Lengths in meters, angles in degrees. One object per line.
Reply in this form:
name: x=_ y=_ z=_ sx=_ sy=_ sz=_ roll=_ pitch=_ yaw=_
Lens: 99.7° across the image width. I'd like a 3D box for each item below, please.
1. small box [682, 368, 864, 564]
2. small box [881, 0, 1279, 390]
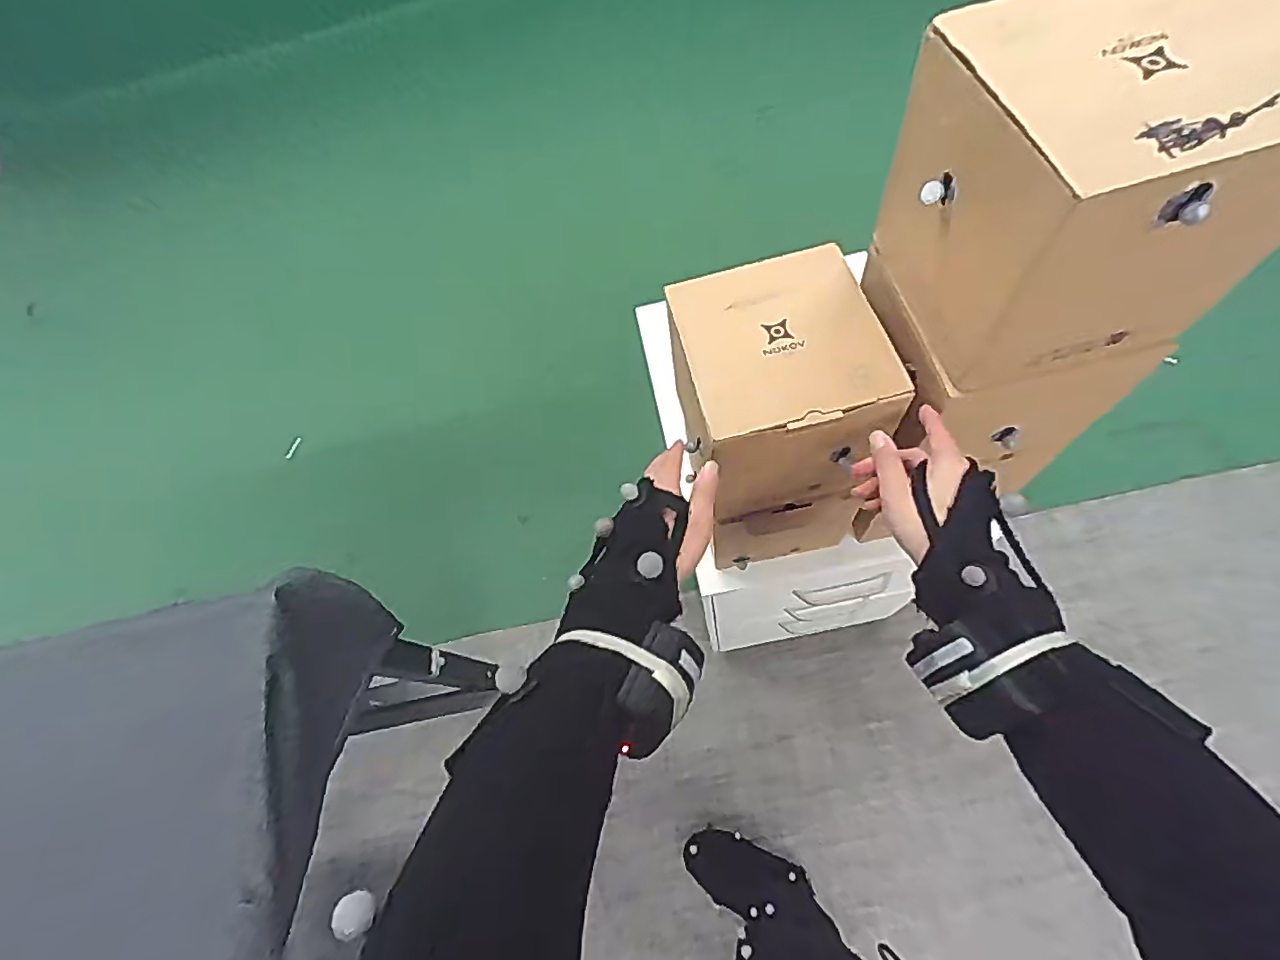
small box: x=0.152 y=-0.005 z=0.671 sx=0.168 sy=0.176 sz=0.179 roll=-12 pitch=62 yaw=2
small box: x=0.289 y=-0.192 z=0.369 sx=0.168 sy=0.176 sz=0.179 roll=-14 pitch=62 yaw=3
